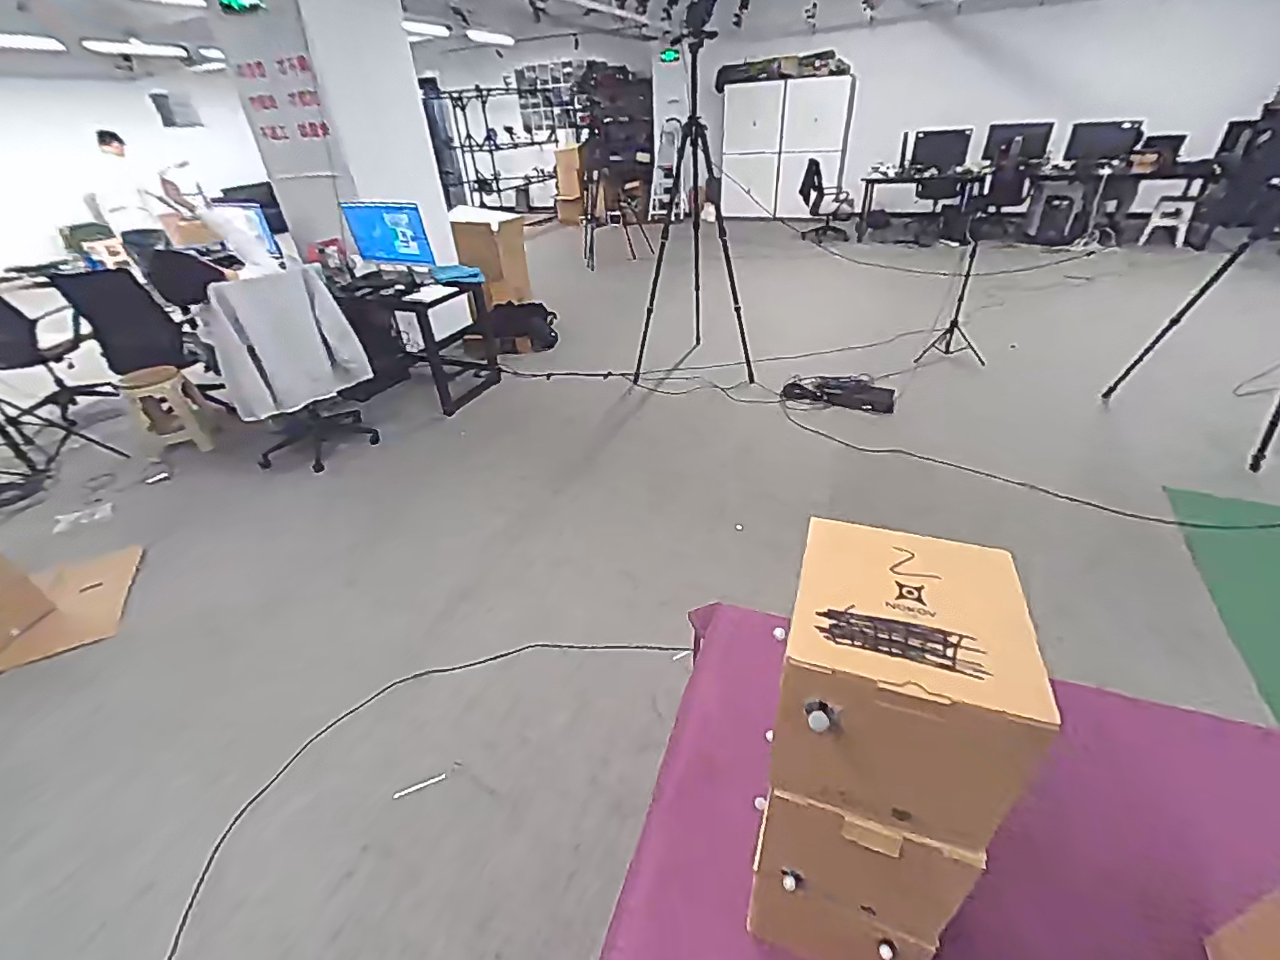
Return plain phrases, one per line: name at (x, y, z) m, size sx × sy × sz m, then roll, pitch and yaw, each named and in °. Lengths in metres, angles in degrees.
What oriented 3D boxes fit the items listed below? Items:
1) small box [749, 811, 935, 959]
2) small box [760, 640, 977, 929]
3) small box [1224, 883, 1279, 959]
small box at (0.231, 0.440, 0.635) m, size 0.179 × 0.176 × 0.168 m, roll 10°, pitch 36°, yaw 20°
small box at (0.221, 0.301, 0.548) m, size 0.168 × 0.176 × 0.179 m, roll 10°, pitch 35°, yaw 20°
small box at (0.675, 0.508, 0.473) m, size 0.179 × 0.176 × 0.168 m, roll 13°, pitch 38°, yaw 24°
